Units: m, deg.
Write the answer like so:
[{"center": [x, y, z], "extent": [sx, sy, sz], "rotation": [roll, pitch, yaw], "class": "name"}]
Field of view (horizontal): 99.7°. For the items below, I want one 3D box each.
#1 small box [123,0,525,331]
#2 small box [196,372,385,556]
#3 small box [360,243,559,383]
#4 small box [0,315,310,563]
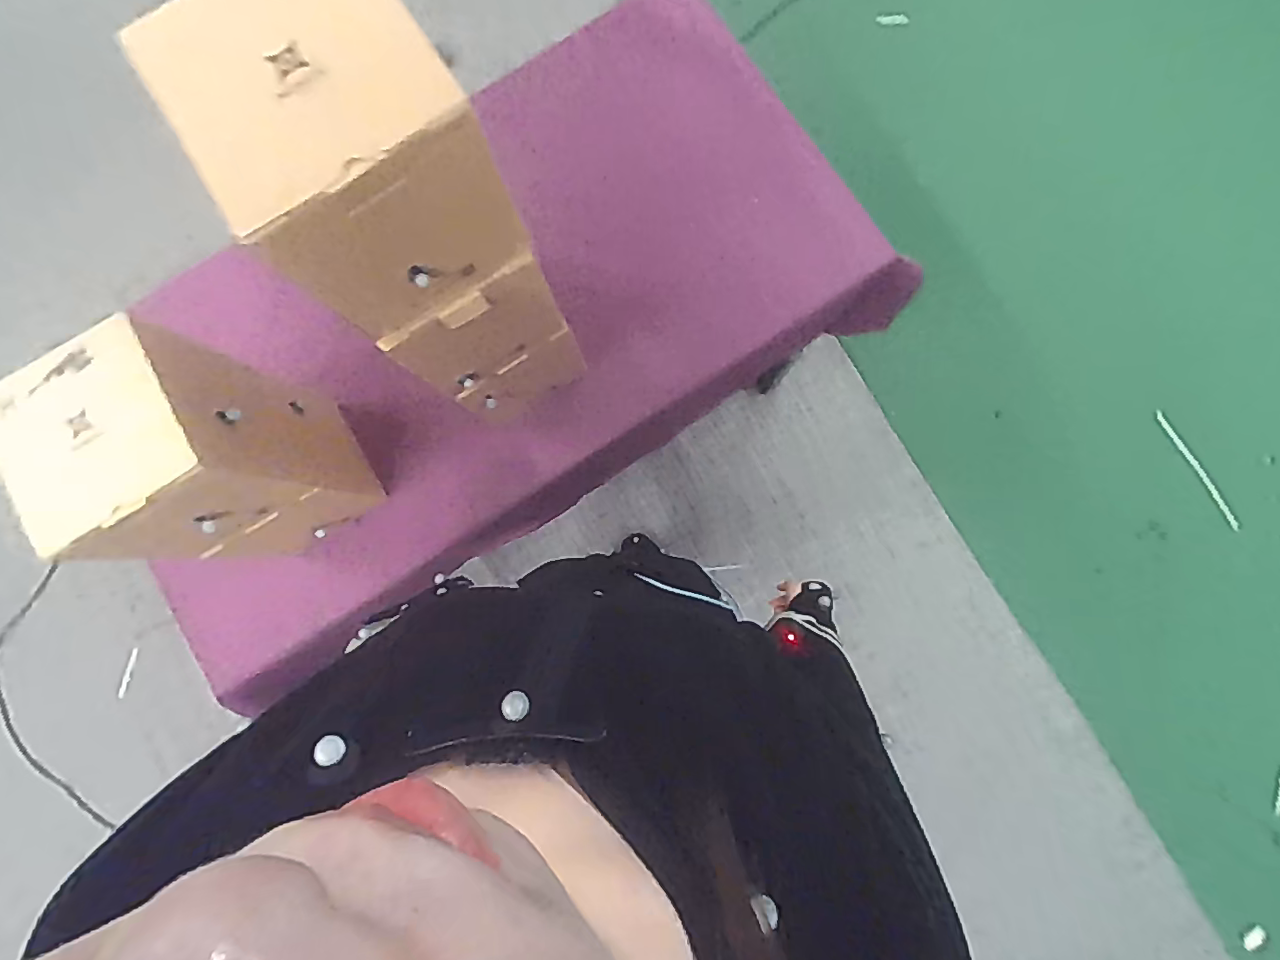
[{"center": [-0.216, -0.251, 0.420], "extent": [0.168, 0.176, 0.179], "rotation": [-34, 84, -2], "class": "small box"}, {"center": [-0.489, -0.011, 0.732], "extent": [0.168, 0.176, 0.179], "rotation": [-32, 84, -1], "class": "small box"}, {"center": [-0.207, -0.223, 0.580], "extent": [0.168, 0.176, 0.179], "rotation": [-33, 83, -2], "class": "small box"}, {"center": [-0.497, -0.032, 0.568], "extent": [0.168, 0.176, 0.179], "rotation": [-32, 84, -3], "class": "small box"}]
